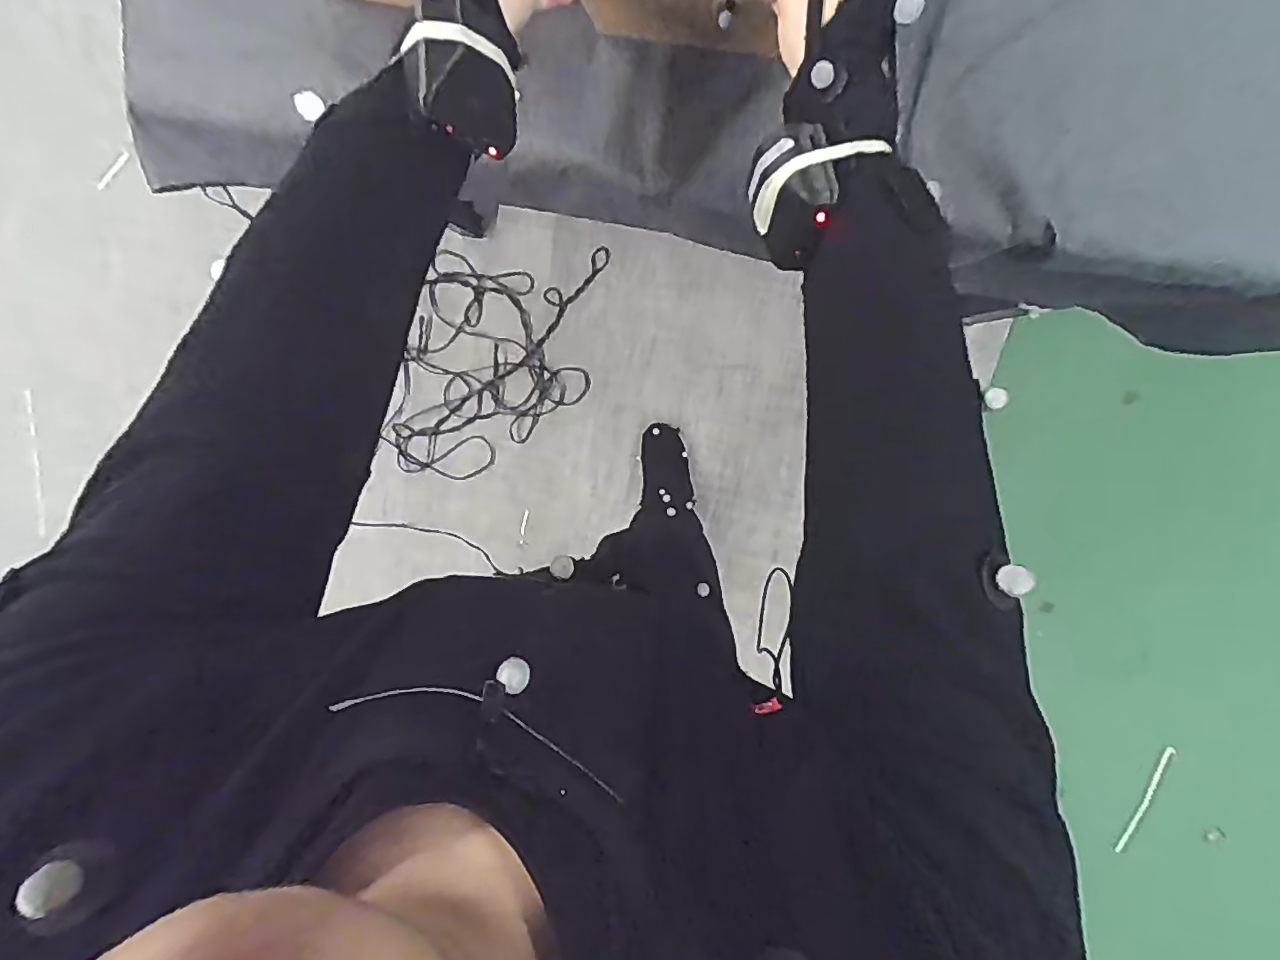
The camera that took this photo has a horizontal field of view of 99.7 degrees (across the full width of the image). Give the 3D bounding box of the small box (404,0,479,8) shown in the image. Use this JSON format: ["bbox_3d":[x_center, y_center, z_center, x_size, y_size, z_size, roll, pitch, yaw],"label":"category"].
[{"bbox_3d":[-0.228,-0.530,0.437,0.179,0.176,0.168,11,103,6],"label":"small box"}]

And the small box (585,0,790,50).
[{"bbox_3d":[0.043,-0.455,0.400,0.179,0.176,0.168,13,109,8],"label":"small box"}]
